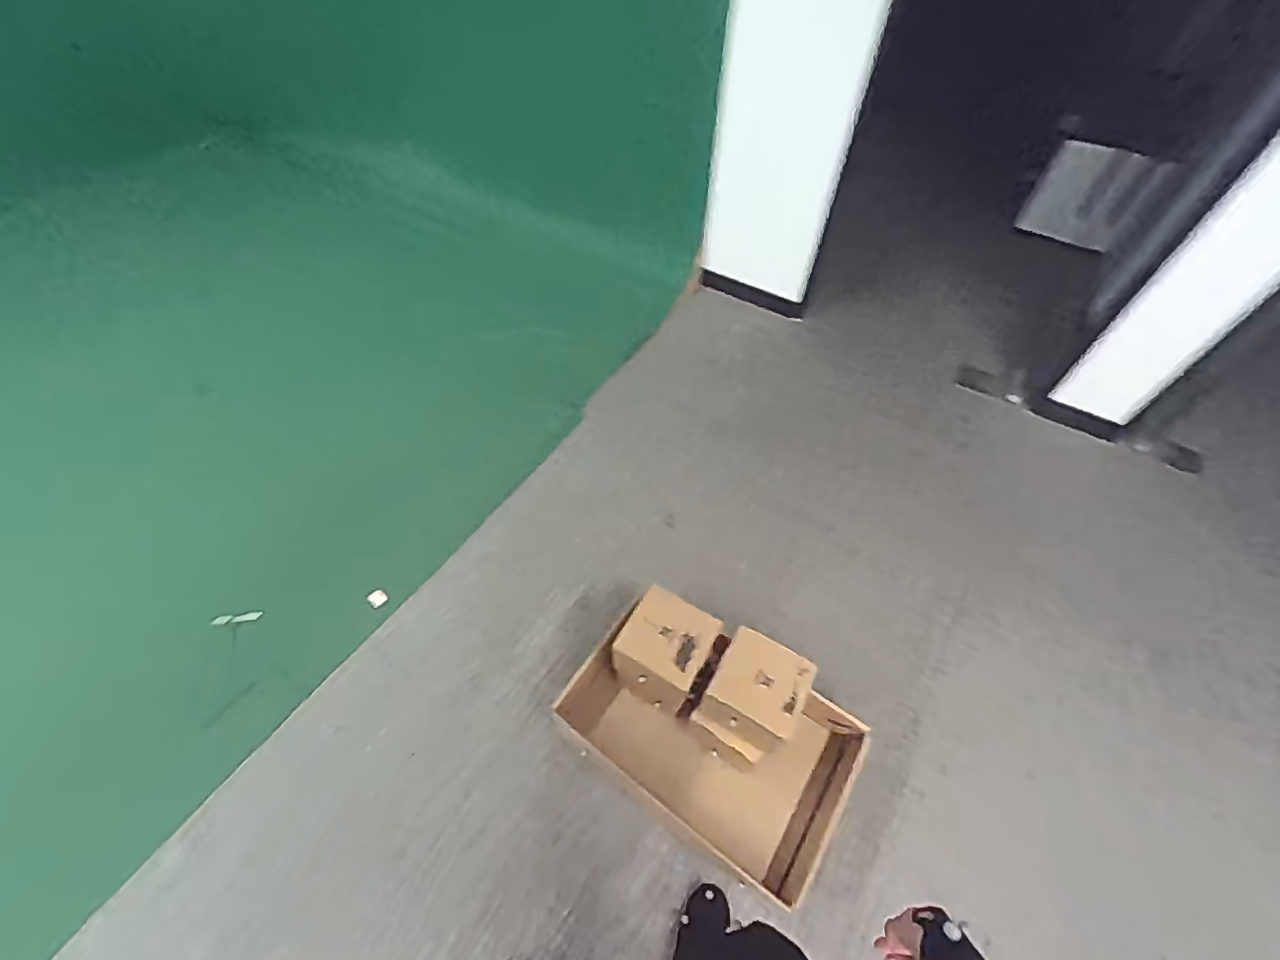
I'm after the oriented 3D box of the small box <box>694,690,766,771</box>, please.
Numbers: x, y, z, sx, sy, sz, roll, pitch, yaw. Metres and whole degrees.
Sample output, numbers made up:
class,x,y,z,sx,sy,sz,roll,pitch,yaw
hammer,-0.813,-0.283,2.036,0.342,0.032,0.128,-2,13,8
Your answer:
class,x,y,z,sx,sy,sz,roll,pitch,yaw
small box,0.236,0.540,1.257,0.168,0.176,0.179,30,61,22

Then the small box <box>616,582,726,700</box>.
class,x,y,z,sx,sy,sz,roll,pitch,yaw
small box,0.066,0.360,1.183,0.179,0.176,0.168,27,60,18

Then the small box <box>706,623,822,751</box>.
class,x,y,z,sx,sy,sz,roll,pitch,yaw
small box,0.251,0.437,1.128,0.179,0.176,0.168,26,59,19
